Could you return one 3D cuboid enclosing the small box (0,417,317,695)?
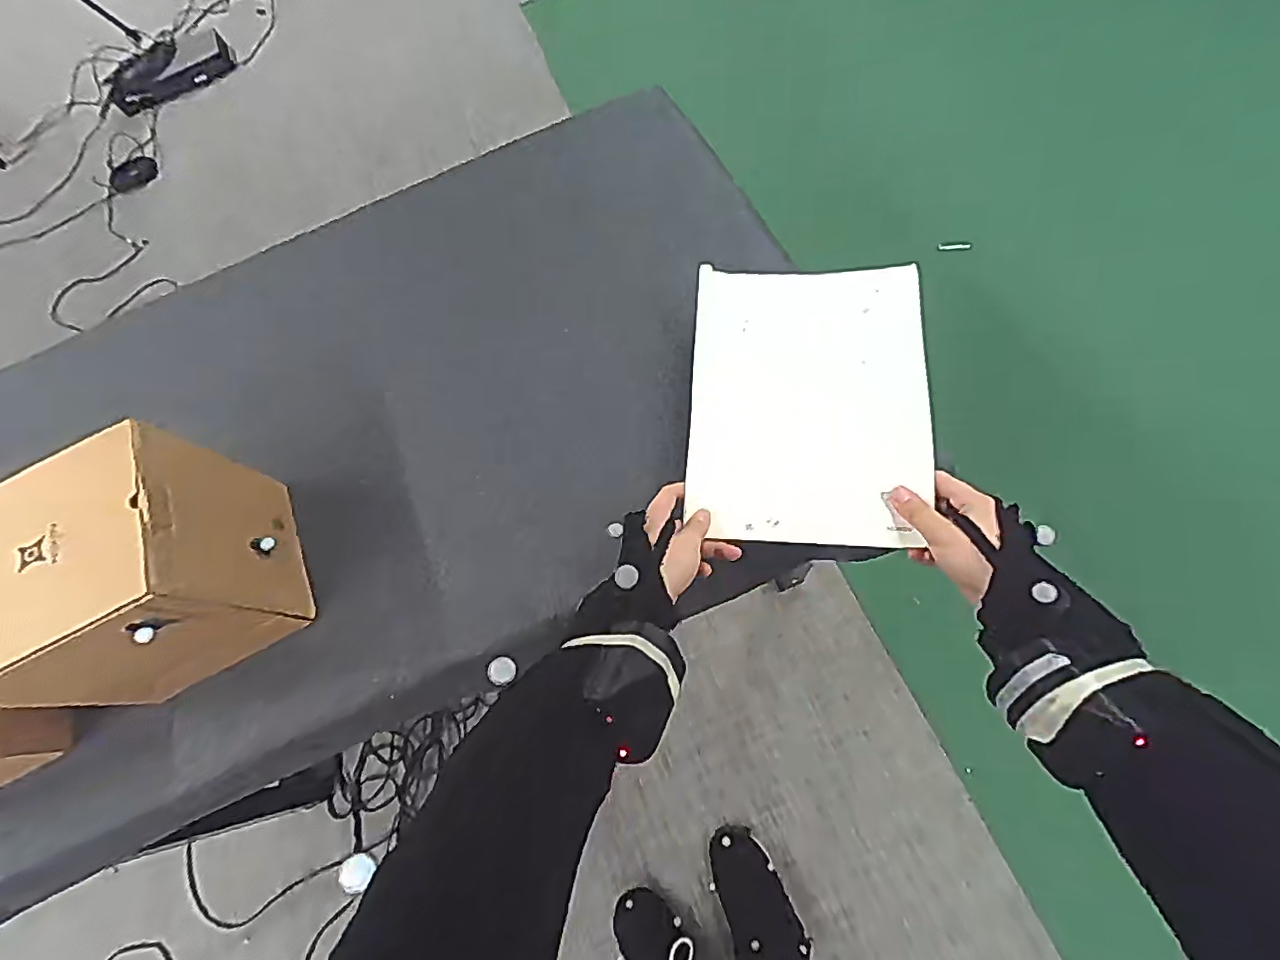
[{"bbox_3d":[-0.439,0.081,0.488,0.179,0.176,0.168,-28,67,-2],"label":"small box"}]
